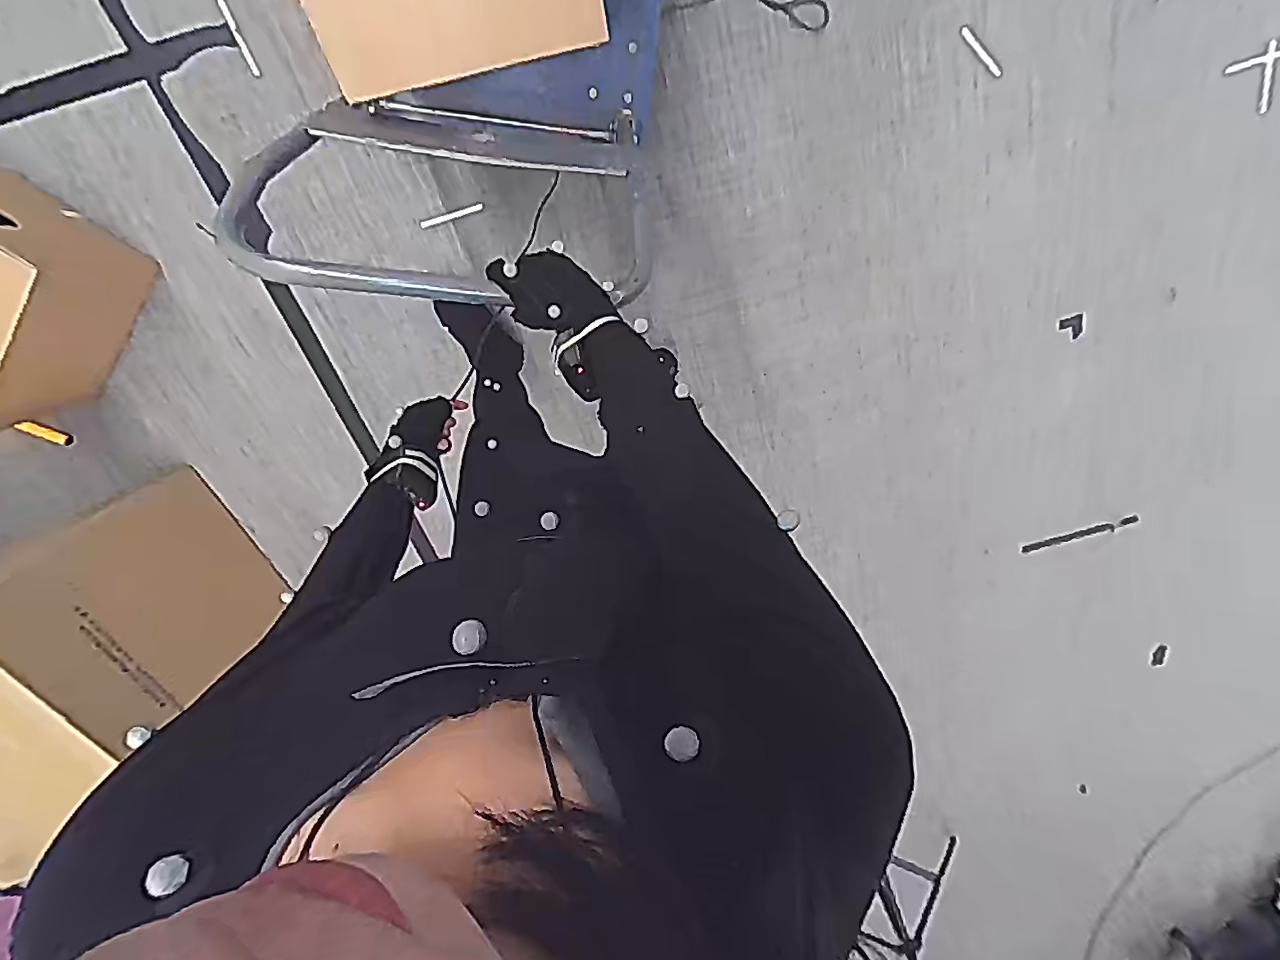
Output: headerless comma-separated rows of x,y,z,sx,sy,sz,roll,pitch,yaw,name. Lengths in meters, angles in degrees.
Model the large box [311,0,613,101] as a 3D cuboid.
-0.274,-0.815,0.805,0.408,0.320,0.320,-11,133,4,large box
